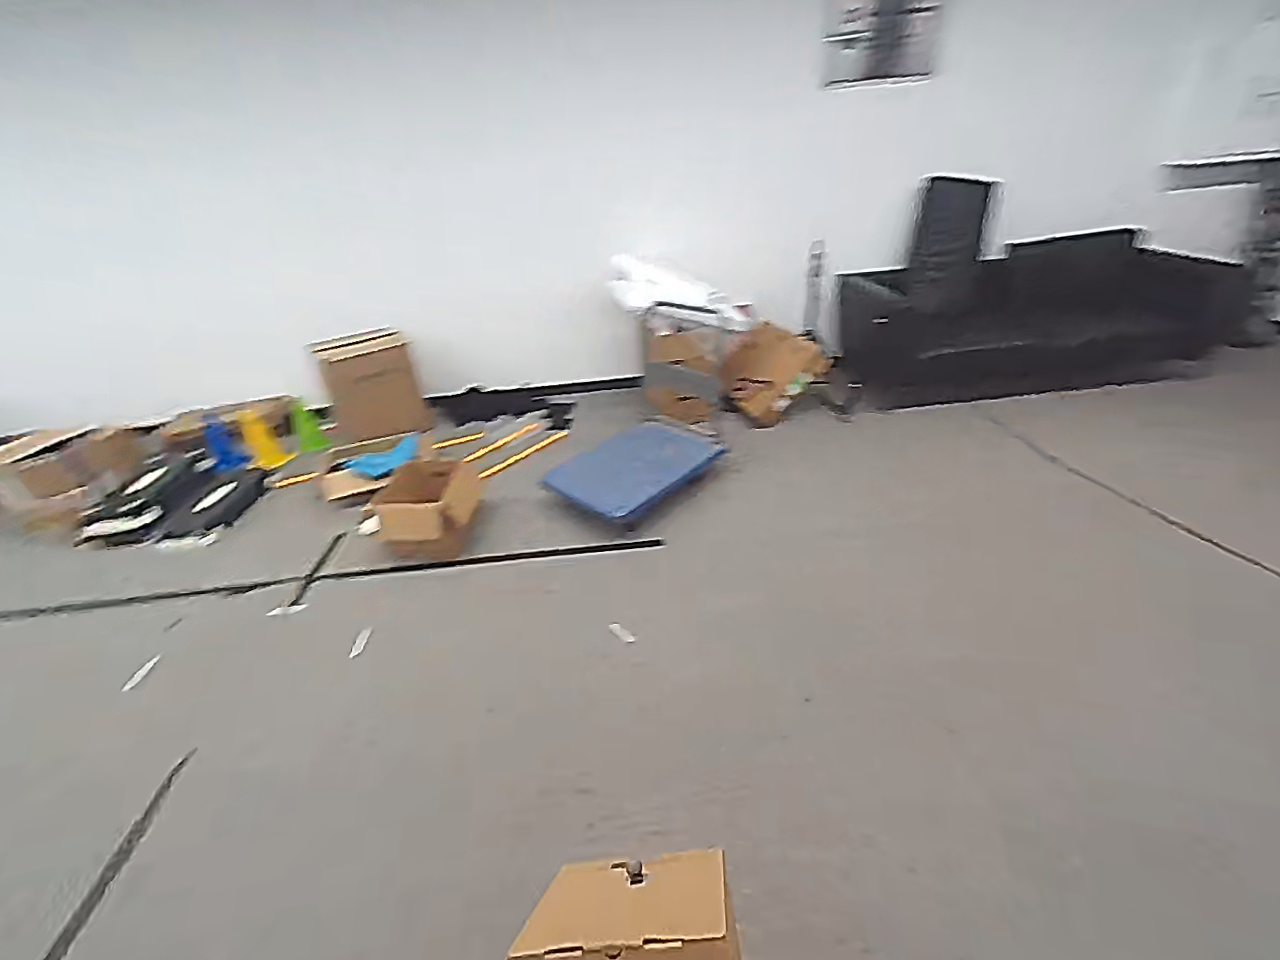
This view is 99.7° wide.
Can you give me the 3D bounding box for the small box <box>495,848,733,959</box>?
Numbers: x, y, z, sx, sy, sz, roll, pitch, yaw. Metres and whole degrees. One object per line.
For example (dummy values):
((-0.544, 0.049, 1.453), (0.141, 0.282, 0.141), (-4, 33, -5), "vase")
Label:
((-0.004, 0.434, 0.437), (0.168, 0.176, 0.179), (-10, 72, 4), "small box")
